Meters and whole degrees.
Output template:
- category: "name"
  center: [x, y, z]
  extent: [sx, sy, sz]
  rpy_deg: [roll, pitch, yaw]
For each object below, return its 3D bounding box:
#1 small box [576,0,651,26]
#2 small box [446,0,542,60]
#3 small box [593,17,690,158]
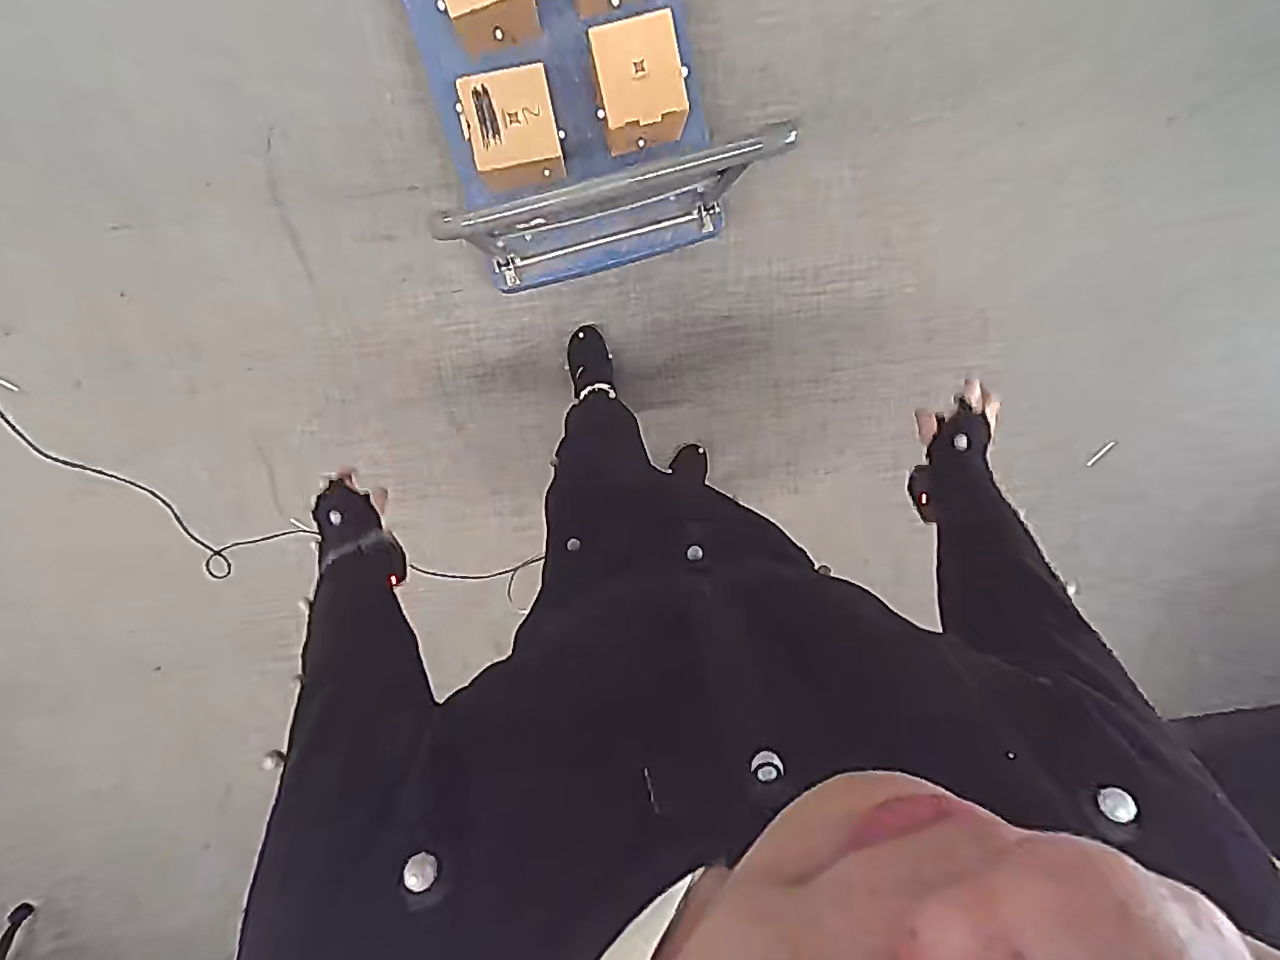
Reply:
- category: "small box"
  center: [-0.070, -1.079, 1.087]
  extent: [0.168, 0.176, 0.179]
  rpy_deg: [-18, 105, 3]
- category: "small box"
  center: [-0.309, -0.998, 1.097]
  extent: [0.168, 0.176, 0.179]
  rpy_deg: [-19, 104, 1]
- category: "small box"
  center: [-0.001, -0.827, 1.156]
  extent: [0.168, 0.176, 0.179]
  rpy_deg: [-14, 105, 1]
